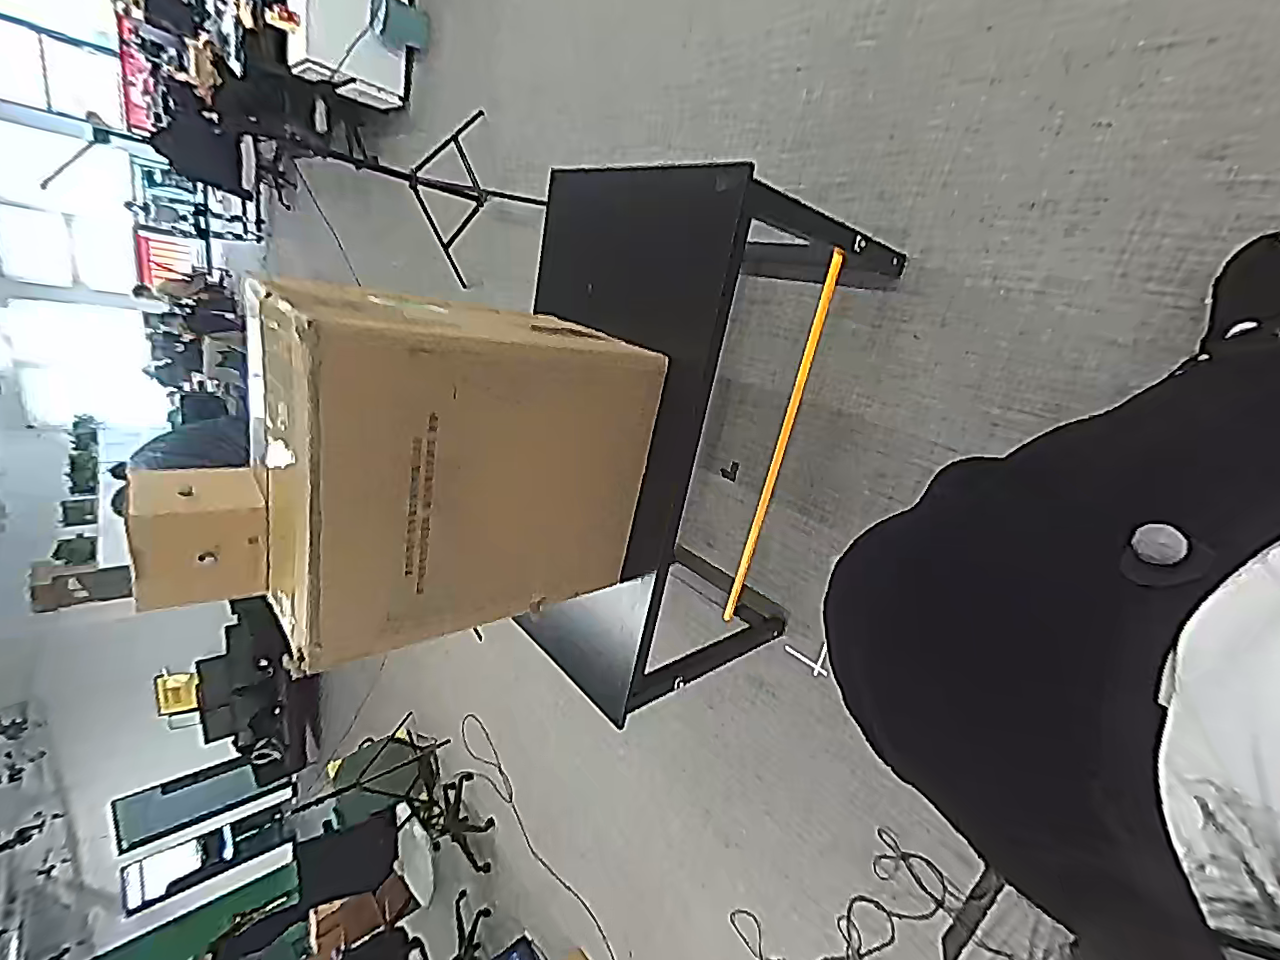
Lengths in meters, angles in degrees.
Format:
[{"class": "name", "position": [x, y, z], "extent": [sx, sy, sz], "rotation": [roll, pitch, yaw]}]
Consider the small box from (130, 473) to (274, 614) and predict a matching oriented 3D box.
[{"class": "small box", "position": [-0.720, 0.091, 0.897], "extent": [0.179, 0.176, 0.168], "rotation": [30, 115, 43]}]
